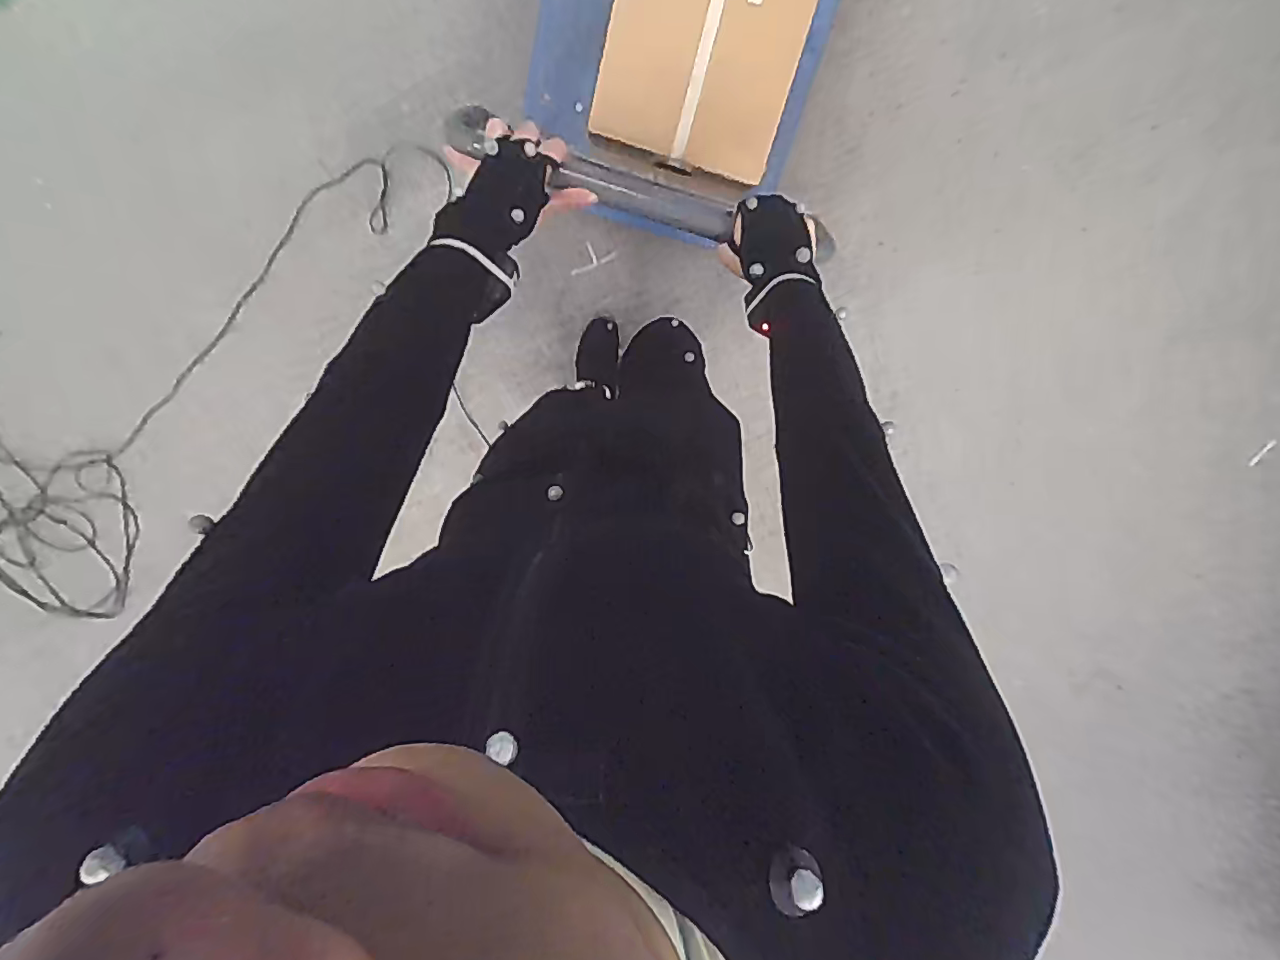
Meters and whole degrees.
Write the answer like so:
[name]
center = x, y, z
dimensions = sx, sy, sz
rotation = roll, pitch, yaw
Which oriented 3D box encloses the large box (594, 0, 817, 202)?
[large box]
center = 0.115, -0.797, 1.021
dimensions = 0.320, 0.320, 0.408
rotation = 14, 110, -7
